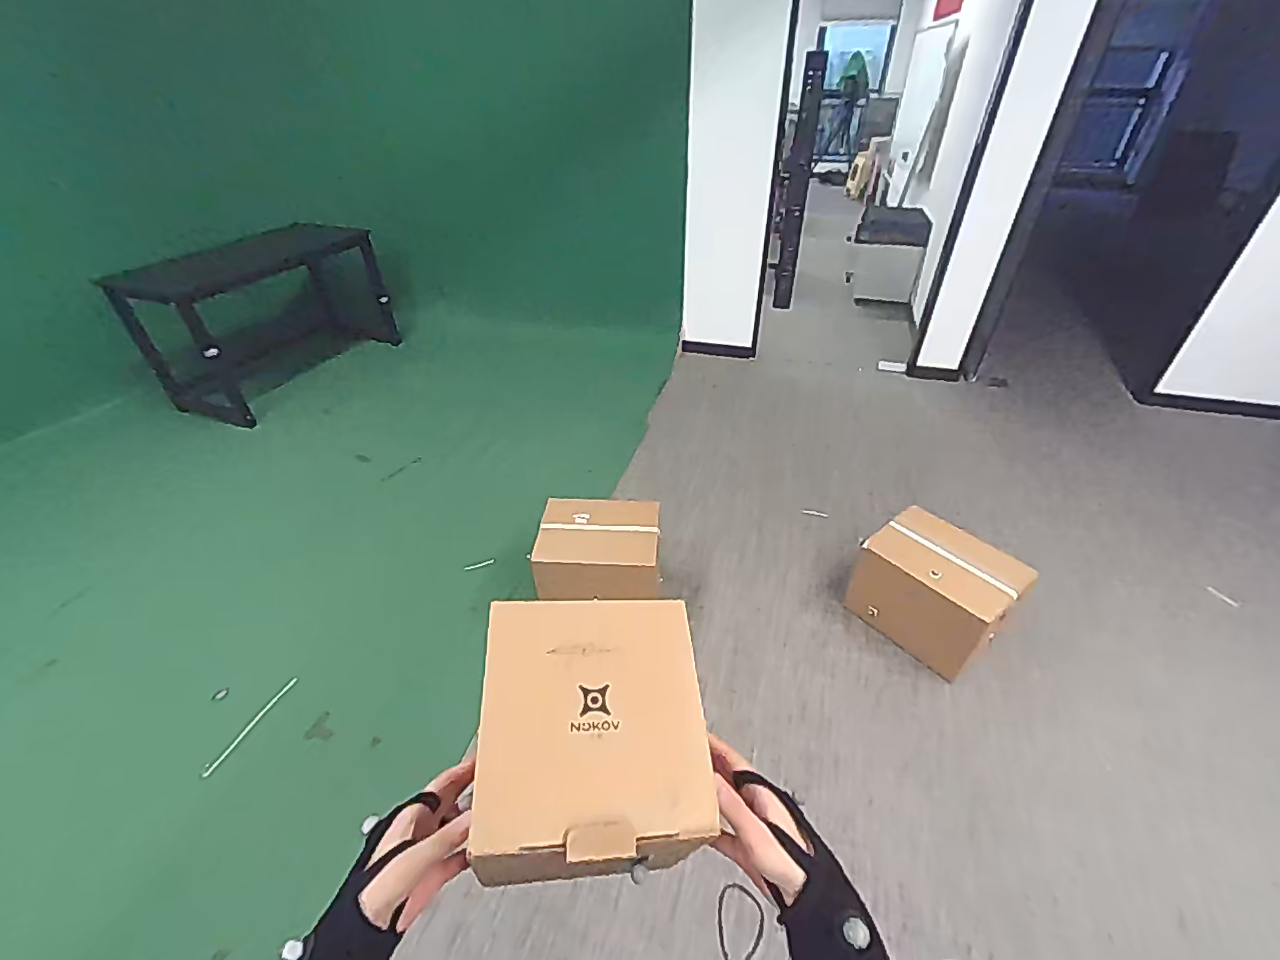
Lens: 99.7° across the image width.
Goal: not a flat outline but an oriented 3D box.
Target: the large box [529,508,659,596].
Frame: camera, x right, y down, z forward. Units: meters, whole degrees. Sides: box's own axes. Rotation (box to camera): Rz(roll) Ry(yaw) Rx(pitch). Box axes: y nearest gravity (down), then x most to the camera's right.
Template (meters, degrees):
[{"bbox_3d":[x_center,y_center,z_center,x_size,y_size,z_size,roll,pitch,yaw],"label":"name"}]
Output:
[{"bbox_3d":[-0.137,0.312,1.890,0.408,0.320,0.320,1,36,4],"label":"large box"}]

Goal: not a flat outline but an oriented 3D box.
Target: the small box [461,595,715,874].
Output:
[{"bbox_3d":[-0.047,0.215,0.455,0.168,0.176,0.179,3,47,-10],"label":"small box"}]
